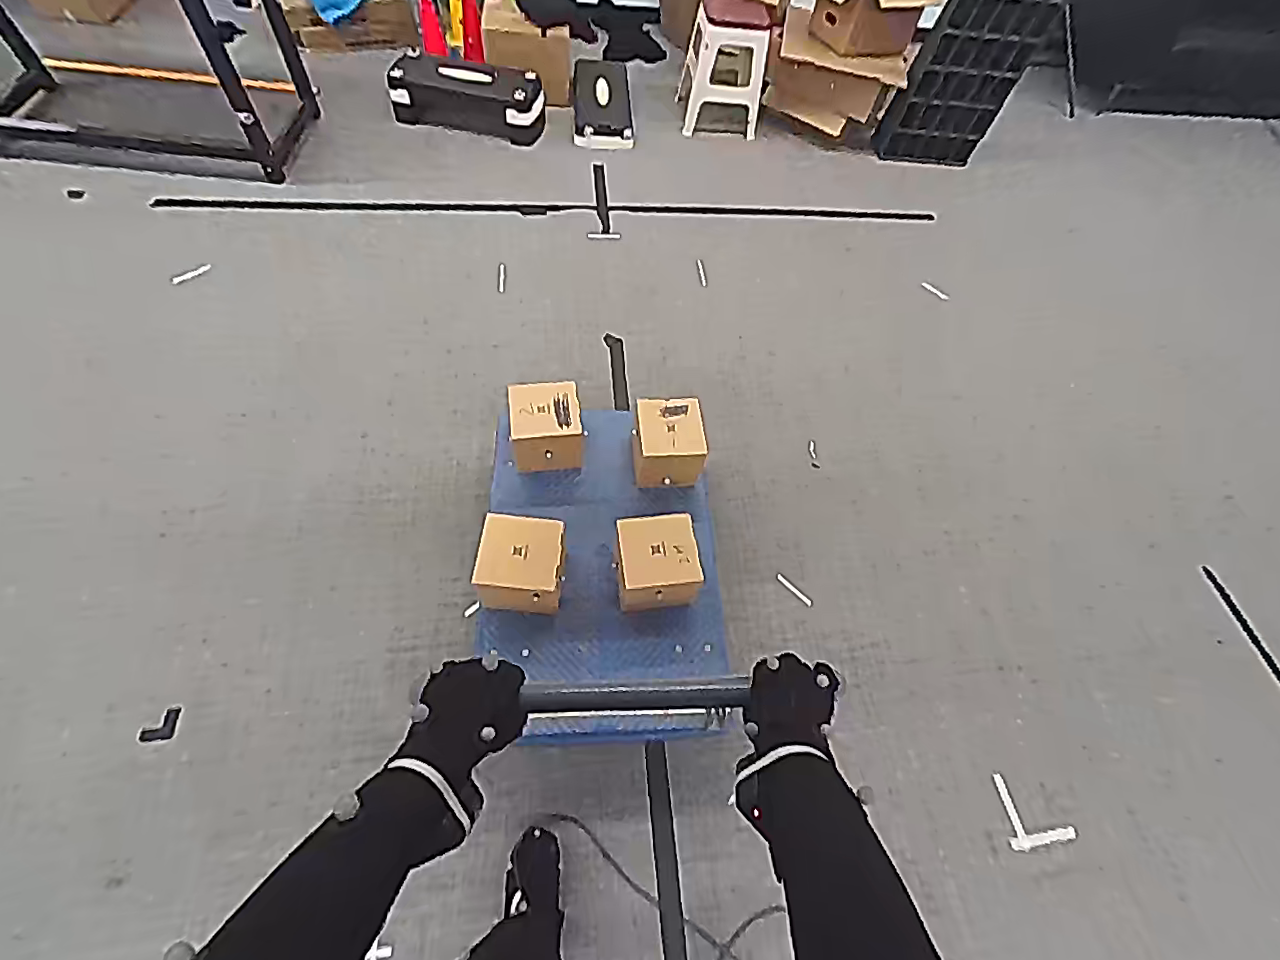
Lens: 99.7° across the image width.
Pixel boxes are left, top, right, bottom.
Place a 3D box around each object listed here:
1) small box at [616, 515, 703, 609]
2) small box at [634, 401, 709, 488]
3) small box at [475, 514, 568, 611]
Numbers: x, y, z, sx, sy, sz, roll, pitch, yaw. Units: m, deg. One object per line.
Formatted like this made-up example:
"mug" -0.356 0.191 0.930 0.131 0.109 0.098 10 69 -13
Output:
"small box" 0.038 0.198 1.277 0.179 0.176 0.168 -4 61 -9
"small box" 0.077 -0.094 1.447 0.168 0.176 0.179 -2 62 -7
"small box" -0.264 0.195 1.244 0.179 0.176 0.168 7 60 -5
